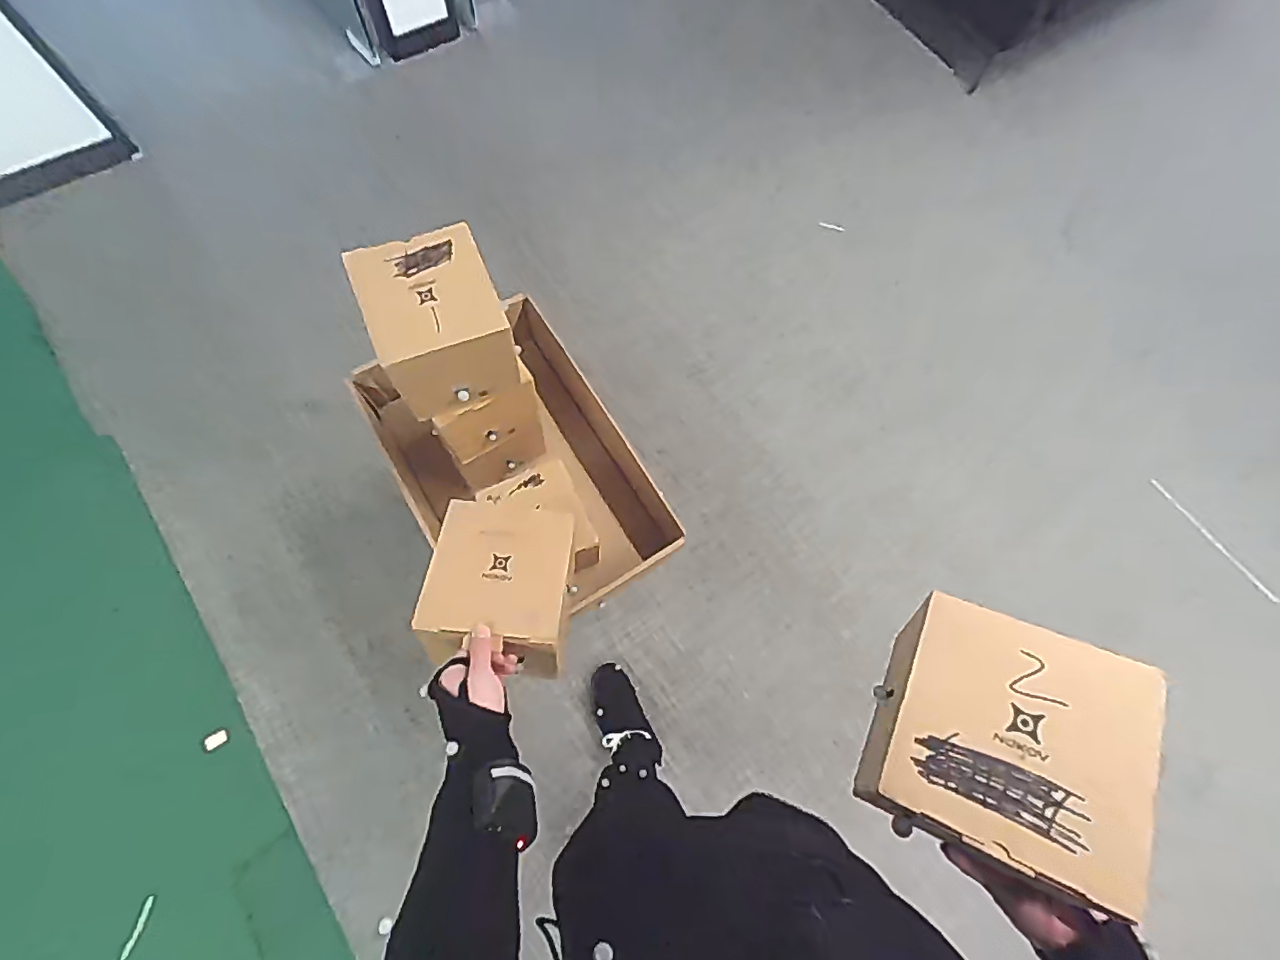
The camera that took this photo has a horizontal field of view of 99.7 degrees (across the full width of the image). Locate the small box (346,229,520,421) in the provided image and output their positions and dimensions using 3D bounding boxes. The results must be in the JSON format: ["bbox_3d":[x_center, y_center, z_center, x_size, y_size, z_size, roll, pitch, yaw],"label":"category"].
[{"bbox_3d":[-0.281,-0.212,0.766,0.168,0.176,0.179,-21,77,-12],"label":"small box"}]

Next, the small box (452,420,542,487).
[{"bbox_3d":[-0.310,-0.112,1.075,0.168,0.176,0.179,-30,78,-14],"label":"small box"}]

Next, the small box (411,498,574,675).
[{"bbox_3d":[-0.183,0.149,0.728,0.168,0.176,0.179,8,54,-4],"label":"small box"}]

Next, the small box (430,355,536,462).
[{"bbox_3d":[-0.292,-0.160,0.921,0.168,0.176,0.179,-31,79,-15],"label":"small box"}]
